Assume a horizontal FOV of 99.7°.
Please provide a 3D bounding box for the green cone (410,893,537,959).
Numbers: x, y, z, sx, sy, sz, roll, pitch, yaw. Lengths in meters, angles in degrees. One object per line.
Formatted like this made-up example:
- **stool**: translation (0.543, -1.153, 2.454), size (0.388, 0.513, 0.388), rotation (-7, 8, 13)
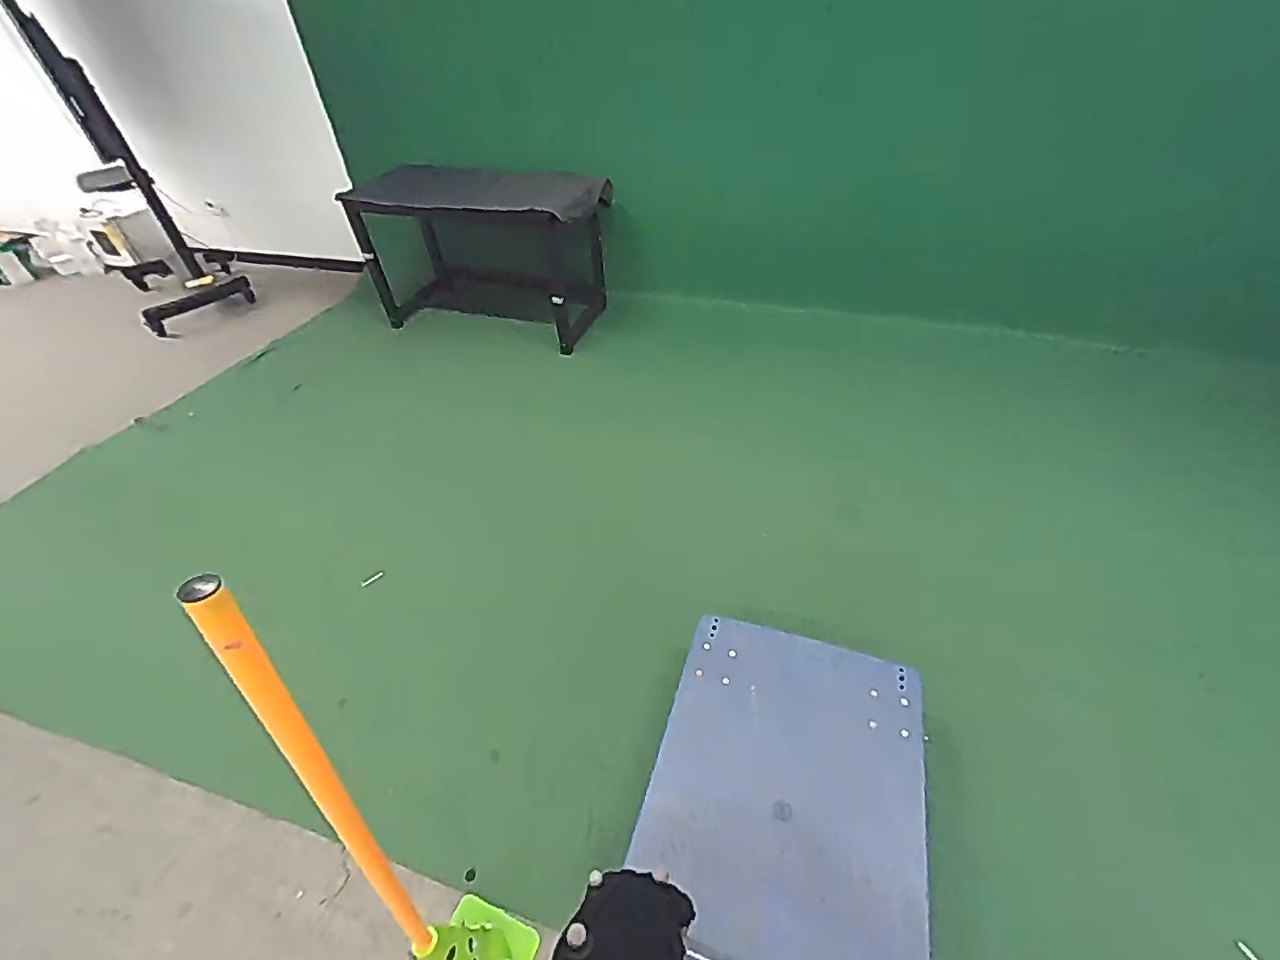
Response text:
- **green cone**: translation (-0.345, 0.877, 1.007), size (0.202, 0.368, 0.200), rotation (13, 44, 18)
